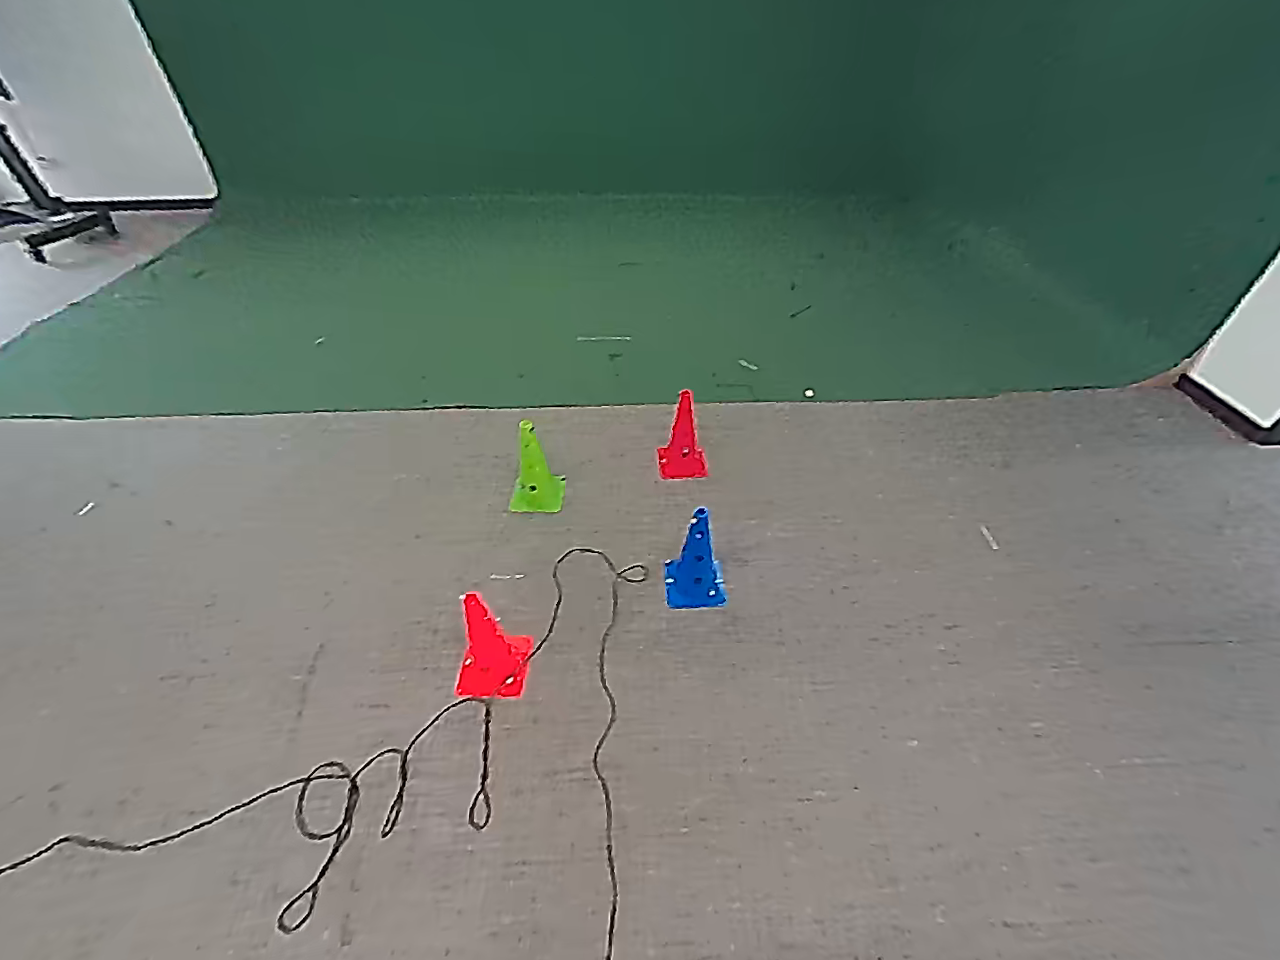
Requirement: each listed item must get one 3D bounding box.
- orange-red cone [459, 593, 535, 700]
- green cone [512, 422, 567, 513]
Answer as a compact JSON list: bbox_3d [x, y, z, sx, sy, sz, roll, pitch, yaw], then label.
[{"bbox_3d":[-0.425,0.434,1.511,0.198,0.360,0.199,3,42,2],"label":"orange-red cone"},{"bbox_3d":[-0.401,-0.068,2.044,0.200,0.368,0.202,0,44,1],"label":"green cone"}]
